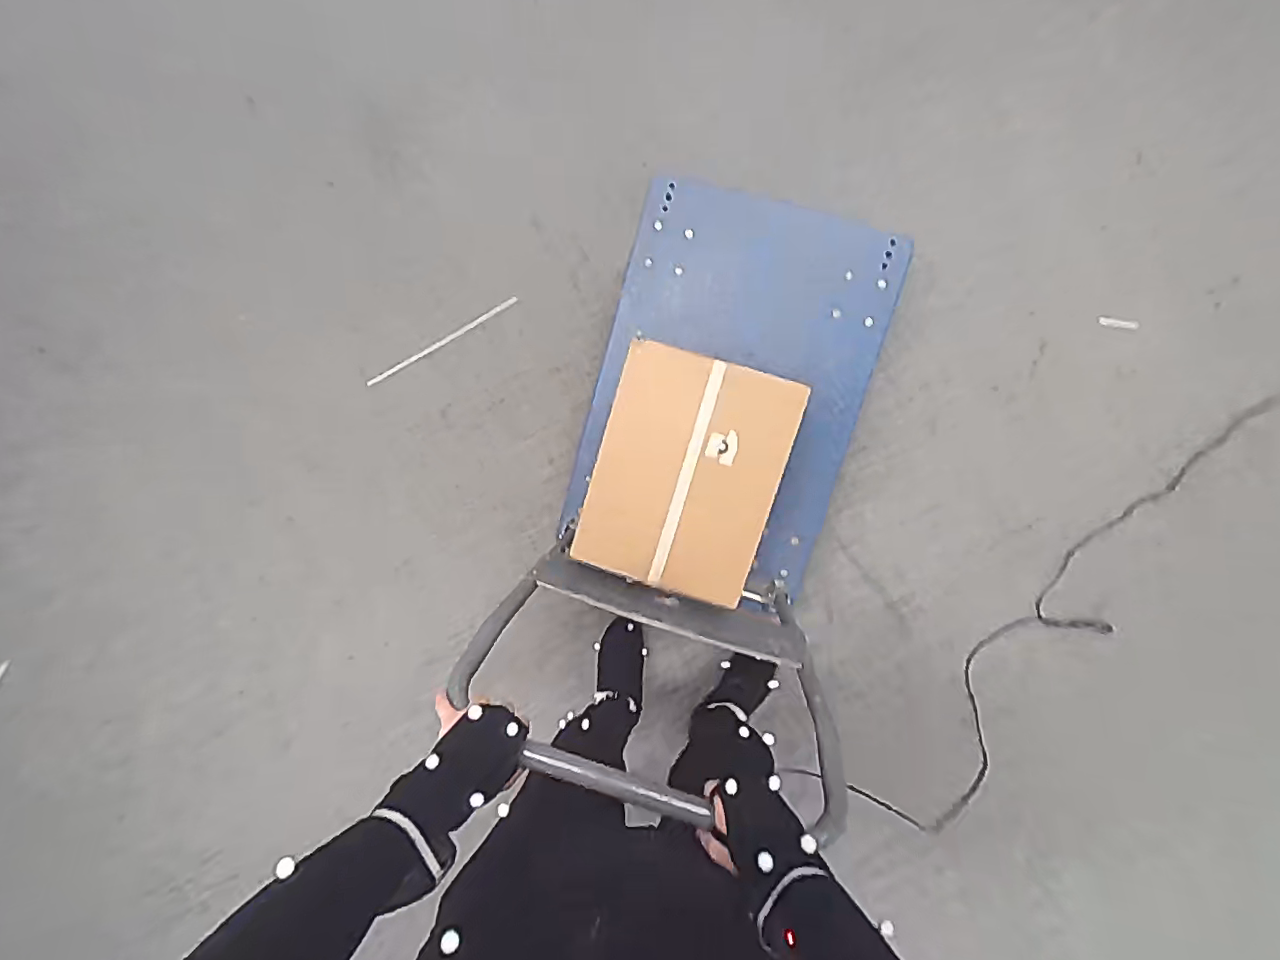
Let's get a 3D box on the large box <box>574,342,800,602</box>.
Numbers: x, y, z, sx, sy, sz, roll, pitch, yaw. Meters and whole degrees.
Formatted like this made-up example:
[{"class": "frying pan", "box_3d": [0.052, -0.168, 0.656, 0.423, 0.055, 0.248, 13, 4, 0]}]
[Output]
[{"class": "large box", "box_3d": [0.093, -0.024, 1.102, 0.320, 0.320, 0.408, 18, 97, 4]}]
